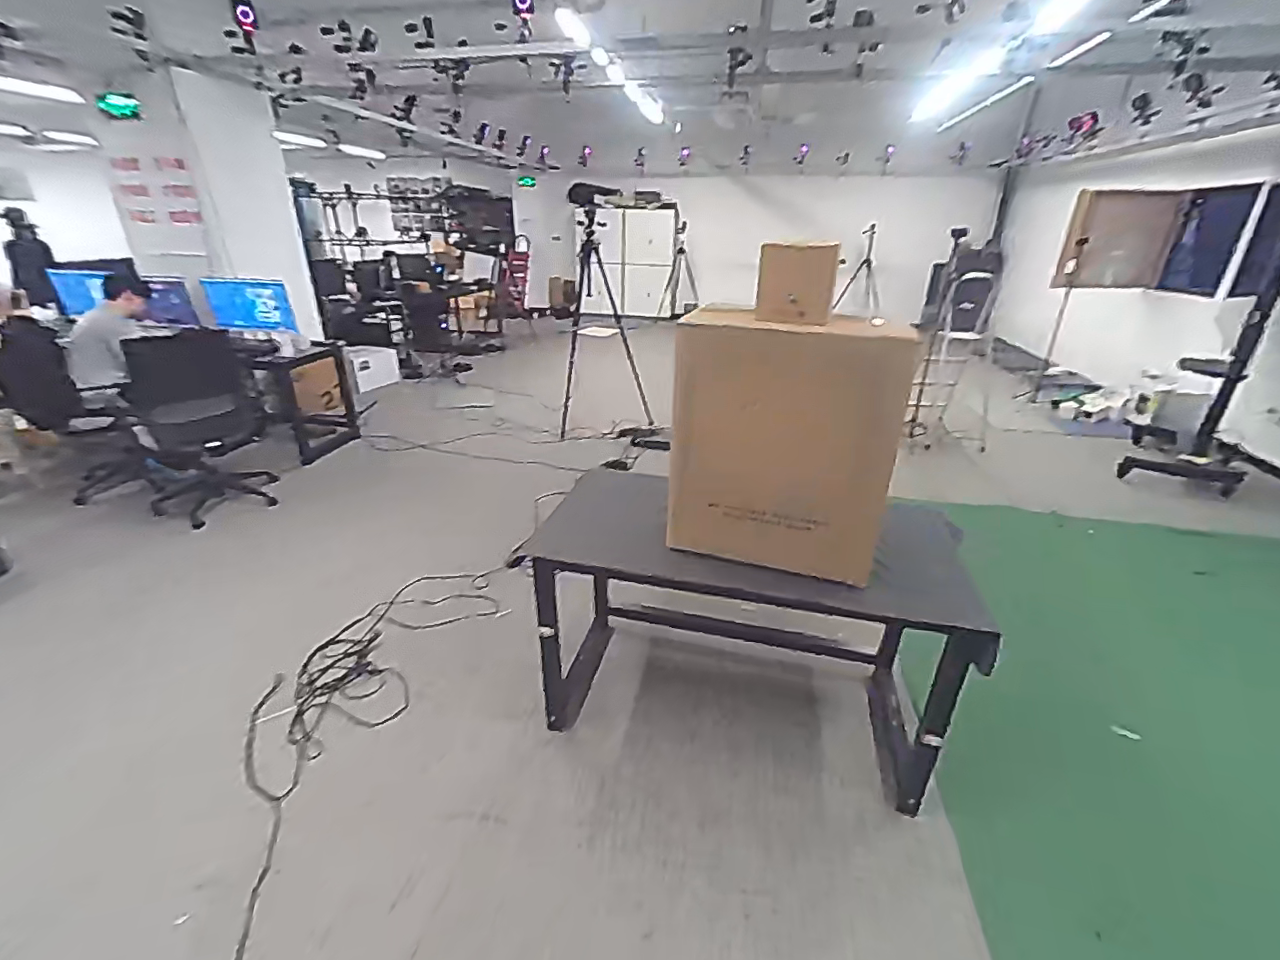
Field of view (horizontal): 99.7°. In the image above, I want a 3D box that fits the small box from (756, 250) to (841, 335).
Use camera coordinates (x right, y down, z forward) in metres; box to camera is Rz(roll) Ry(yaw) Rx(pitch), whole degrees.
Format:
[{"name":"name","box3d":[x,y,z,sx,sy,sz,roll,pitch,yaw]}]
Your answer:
[{"name":"small box","box3d":[0.376,-0.451,1.289,0.168,0.176,0.179,10,28,18]}]
